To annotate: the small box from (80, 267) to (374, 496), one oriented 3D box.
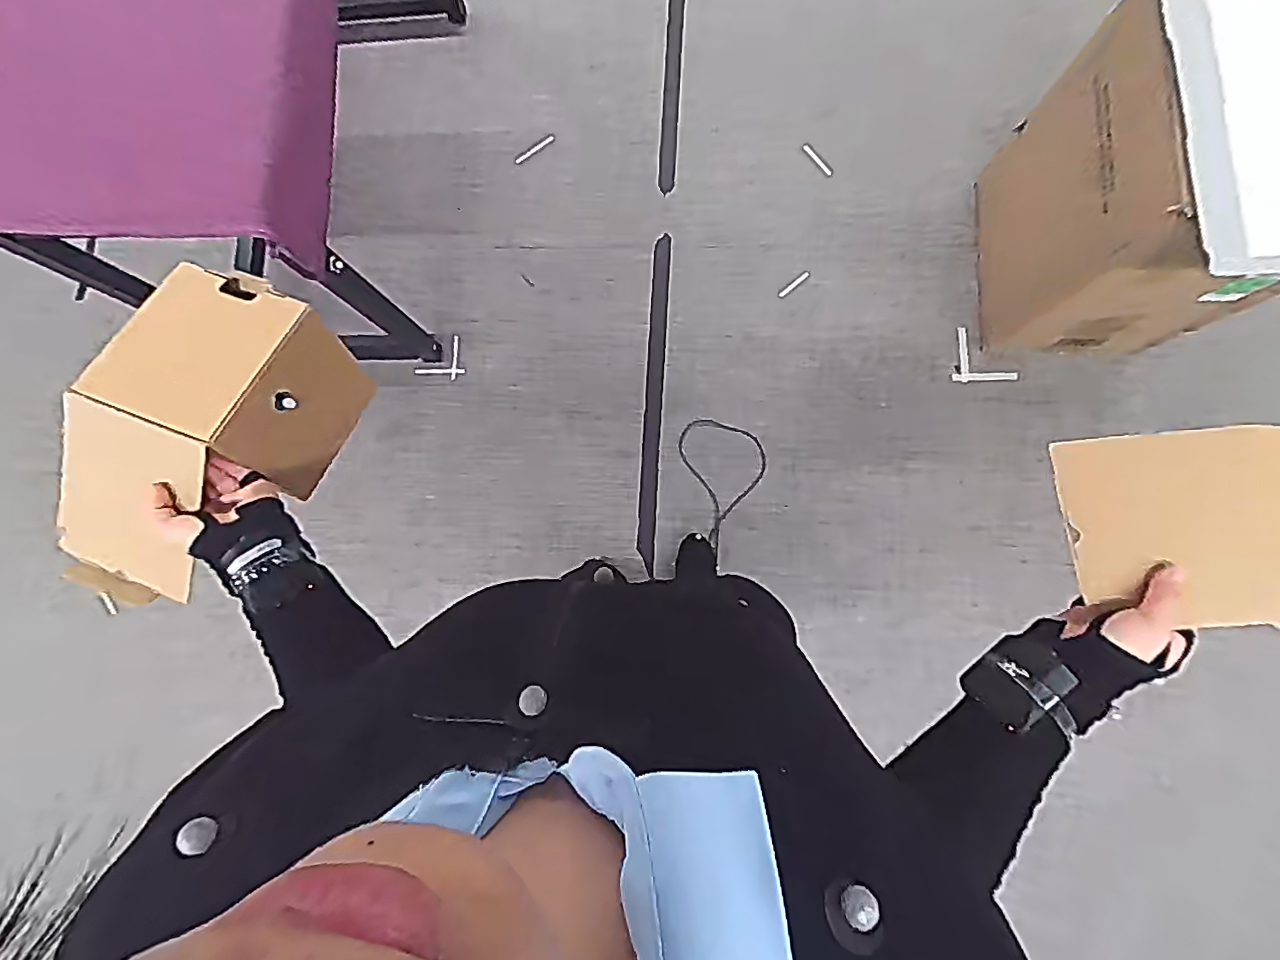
[{"bbox_3d":[-0.448,-0.103,0.625,0.168,0.176,0.179,20,68,8],"label":"small box"}]
